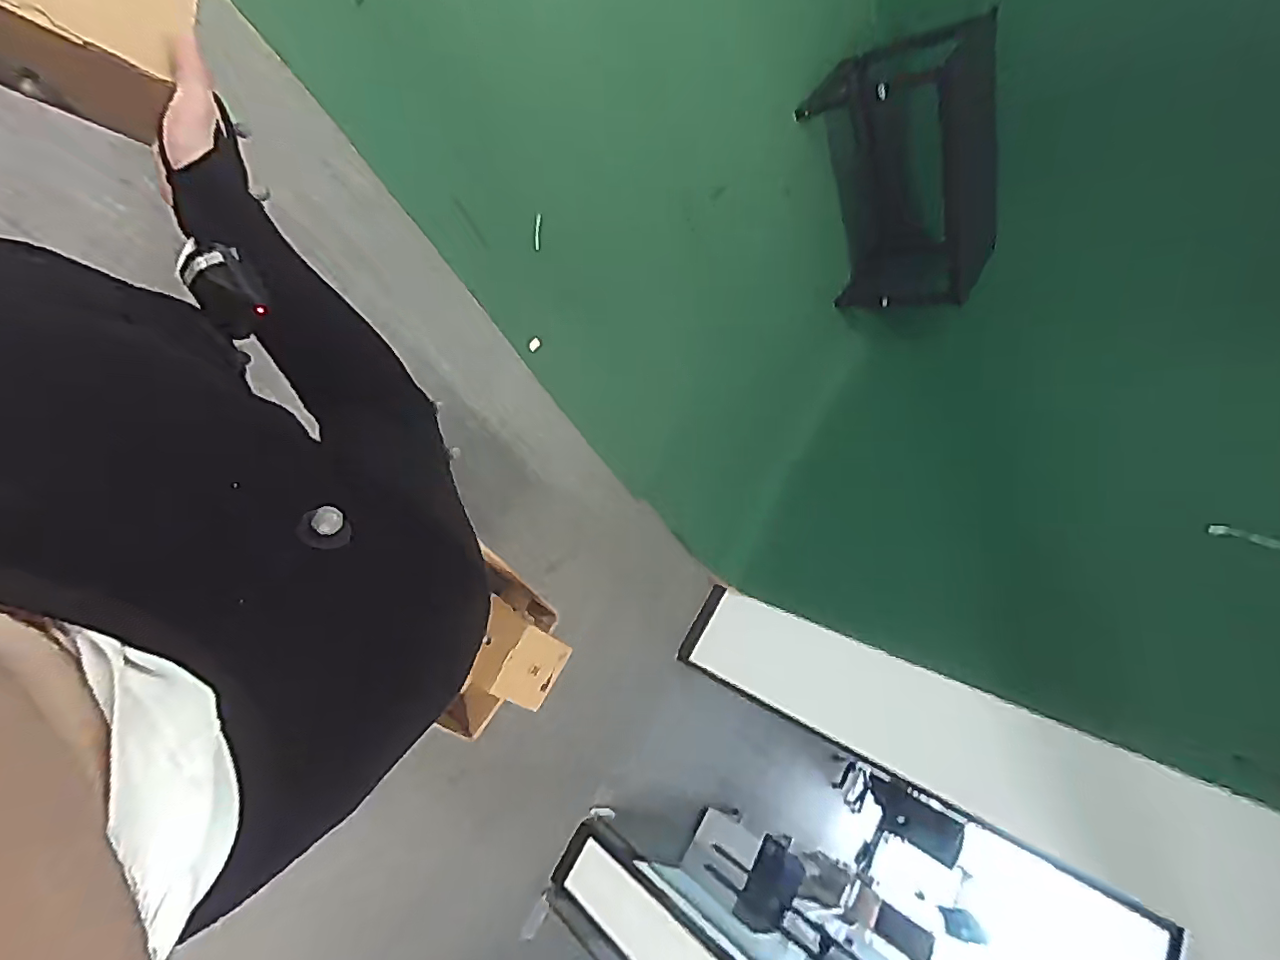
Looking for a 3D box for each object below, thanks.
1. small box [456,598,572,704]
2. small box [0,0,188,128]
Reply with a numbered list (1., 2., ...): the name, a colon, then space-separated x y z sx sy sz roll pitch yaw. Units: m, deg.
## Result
1. small box: -0.305 0.403 1.298 0.168 0.176 0.179 -57 135 -16
2. small box: -0.471 -0.424 0.422 0.168 0.176 0.179 6 94 -49
